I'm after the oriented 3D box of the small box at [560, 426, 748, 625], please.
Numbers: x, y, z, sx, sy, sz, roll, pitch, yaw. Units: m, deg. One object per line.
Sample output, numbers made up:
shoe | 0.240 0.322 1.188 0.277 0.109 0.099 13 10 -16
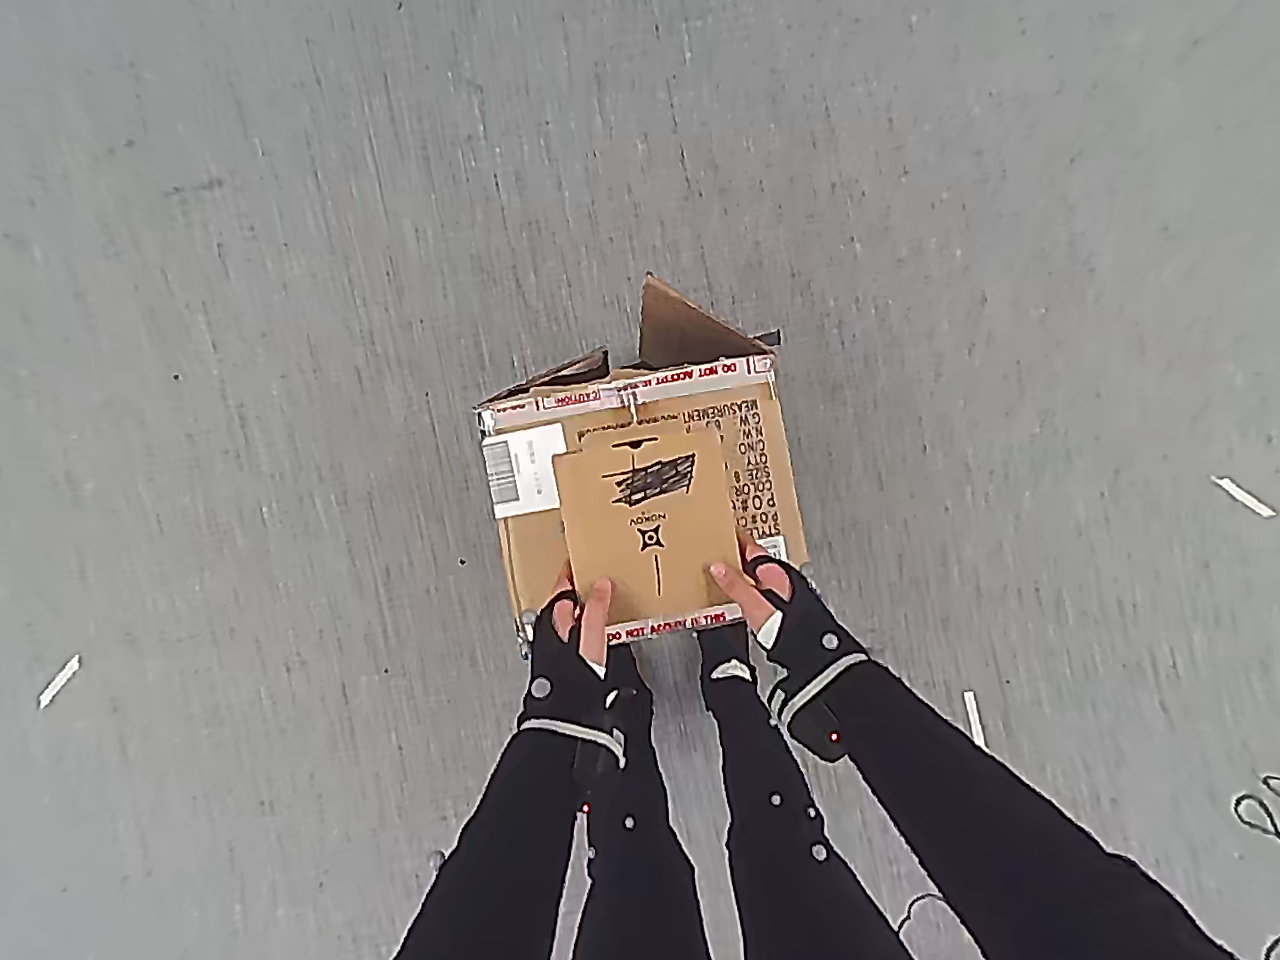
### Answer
small box | 0.012 0.042 0.608 0.168 0.176 0.179 -10 93 0
